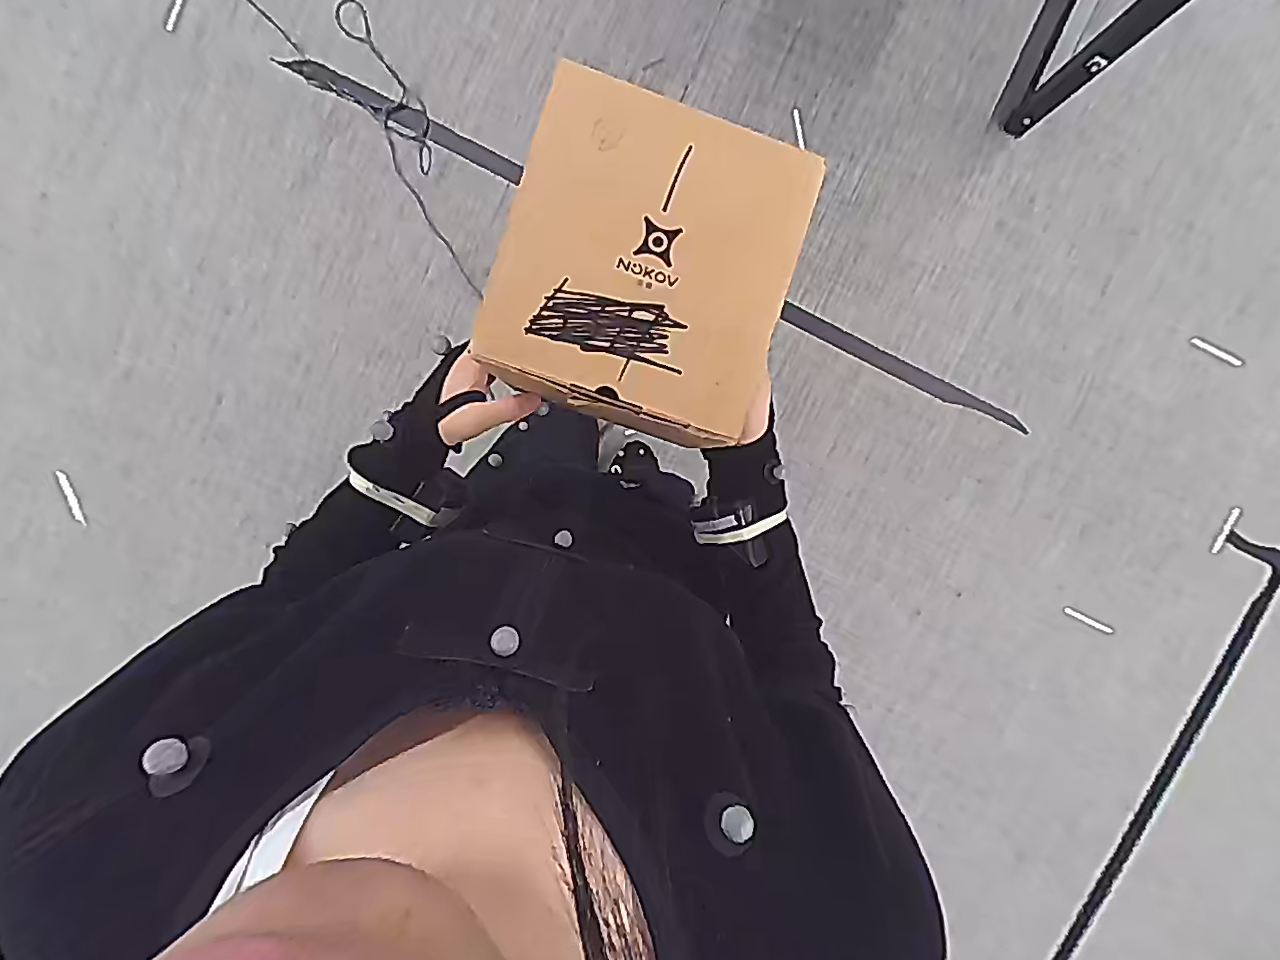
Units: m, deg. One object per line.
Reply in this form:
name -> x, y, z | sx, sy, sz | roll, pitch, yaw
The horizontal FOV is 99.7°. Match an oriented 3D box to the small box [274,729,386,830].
small box -> -0.822, 0.782, 1.449 | 0.179, 0.176, 0.168 | 20, 95, -1

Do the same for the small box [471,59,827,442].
small box -> 0.001, -0.132, 0.389 | 0.168, 0.176, 0.179 | 18, 90, -5
